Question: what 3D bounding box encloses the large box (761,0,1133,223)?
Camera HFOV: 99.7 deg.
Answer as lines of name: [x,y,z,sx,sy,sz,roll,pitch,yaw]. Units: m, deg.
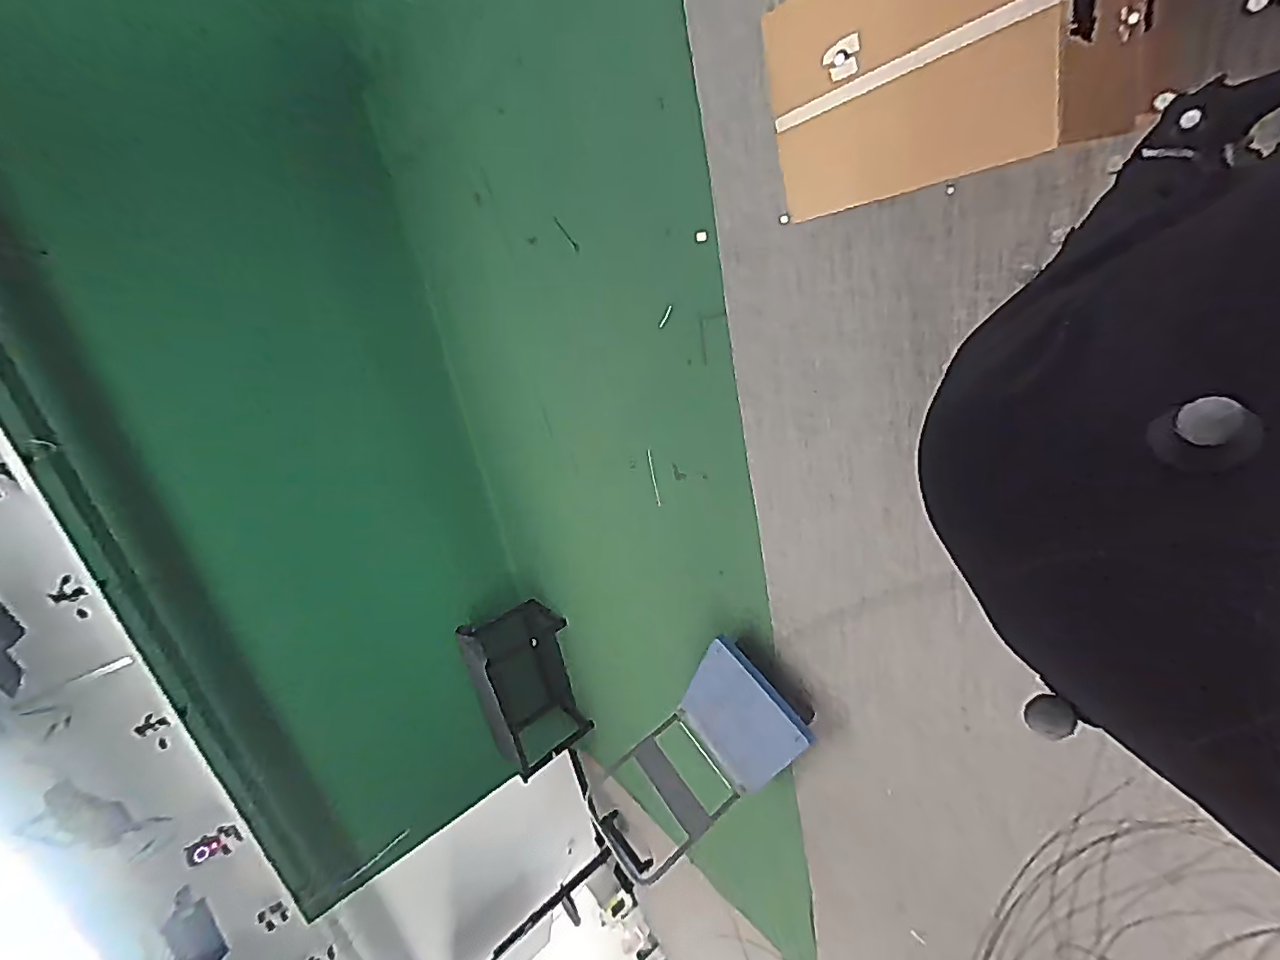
large box: [0.464,-0.637,0.841,0.408,0.320,0.320,14,124,53]
